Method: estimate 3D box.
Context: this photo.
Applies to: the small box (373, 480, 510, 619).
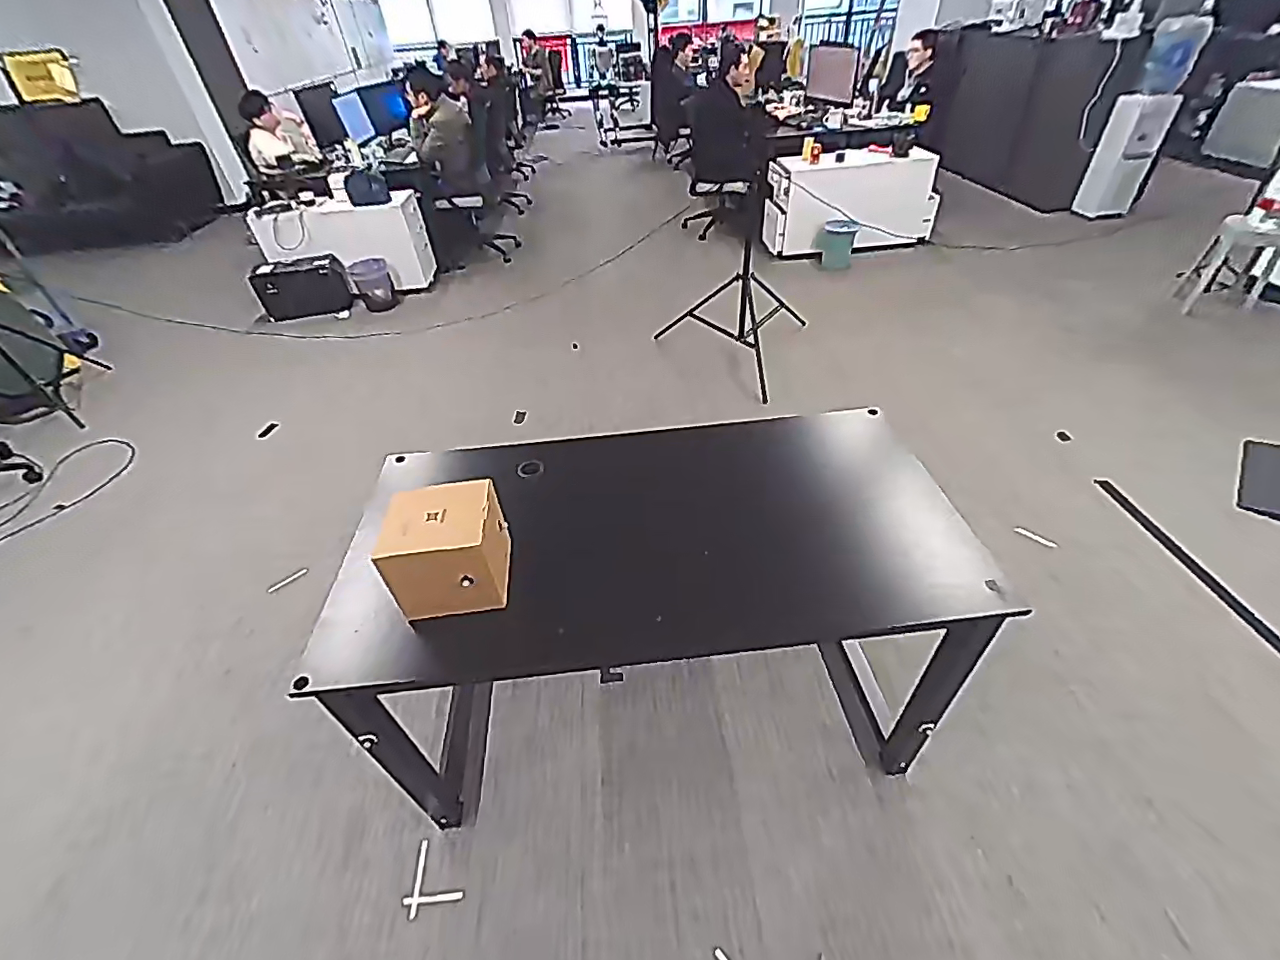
[{"bbox_3d":[-0.337,0.124,0.961,0.179,0.176,0.168,-8,40,-3],"label":"small box"}]
